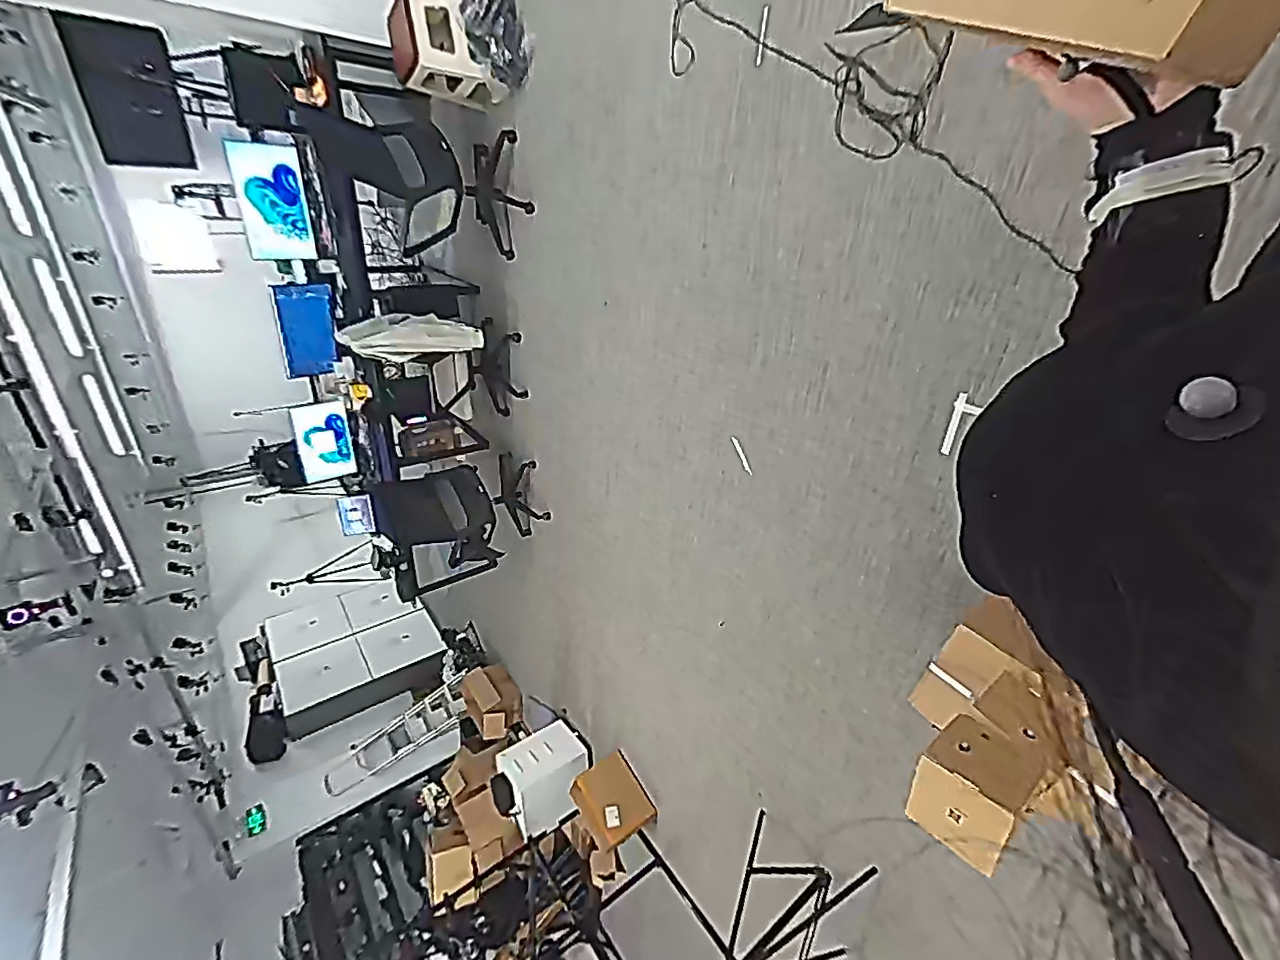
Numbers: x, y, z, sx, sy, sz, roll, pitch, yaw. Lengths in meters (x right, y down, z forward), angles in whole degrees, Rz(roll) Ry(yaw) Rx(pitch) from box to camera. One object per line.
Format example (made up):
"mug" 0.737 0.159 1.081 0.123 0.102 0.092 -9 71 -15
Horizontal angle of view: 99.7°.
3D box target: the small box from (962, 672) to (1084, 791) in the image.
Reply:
"small box" 0.789 0.549 1.151 0.179 0.176 0.168 43 135 37

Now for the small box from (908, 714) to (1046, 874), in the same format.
"small box" 0.662 0.604 1.064 0.168 0.176 0.179 27 126 47
